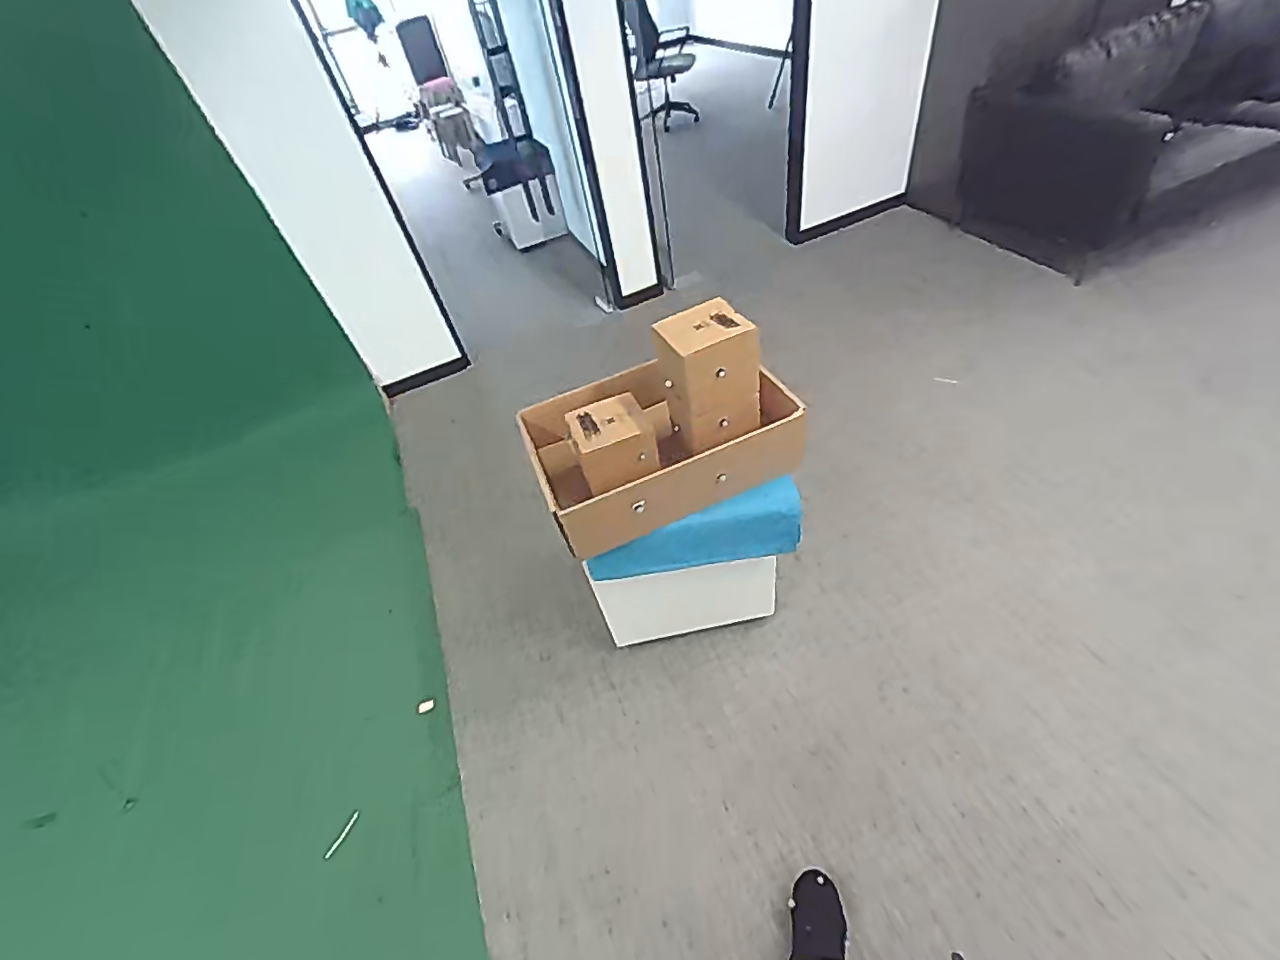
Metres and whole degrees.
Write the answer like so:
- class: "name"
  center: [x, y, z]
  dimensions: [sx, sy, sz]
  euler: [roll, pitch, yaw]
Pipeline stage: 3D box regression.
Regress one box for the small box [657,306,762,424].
- class: "small box"
  center: [0.158, -0.258, 1.215]
  dimensions: [0.179, 0.176, 0.168]
  euler: [-24, 44, -7]
